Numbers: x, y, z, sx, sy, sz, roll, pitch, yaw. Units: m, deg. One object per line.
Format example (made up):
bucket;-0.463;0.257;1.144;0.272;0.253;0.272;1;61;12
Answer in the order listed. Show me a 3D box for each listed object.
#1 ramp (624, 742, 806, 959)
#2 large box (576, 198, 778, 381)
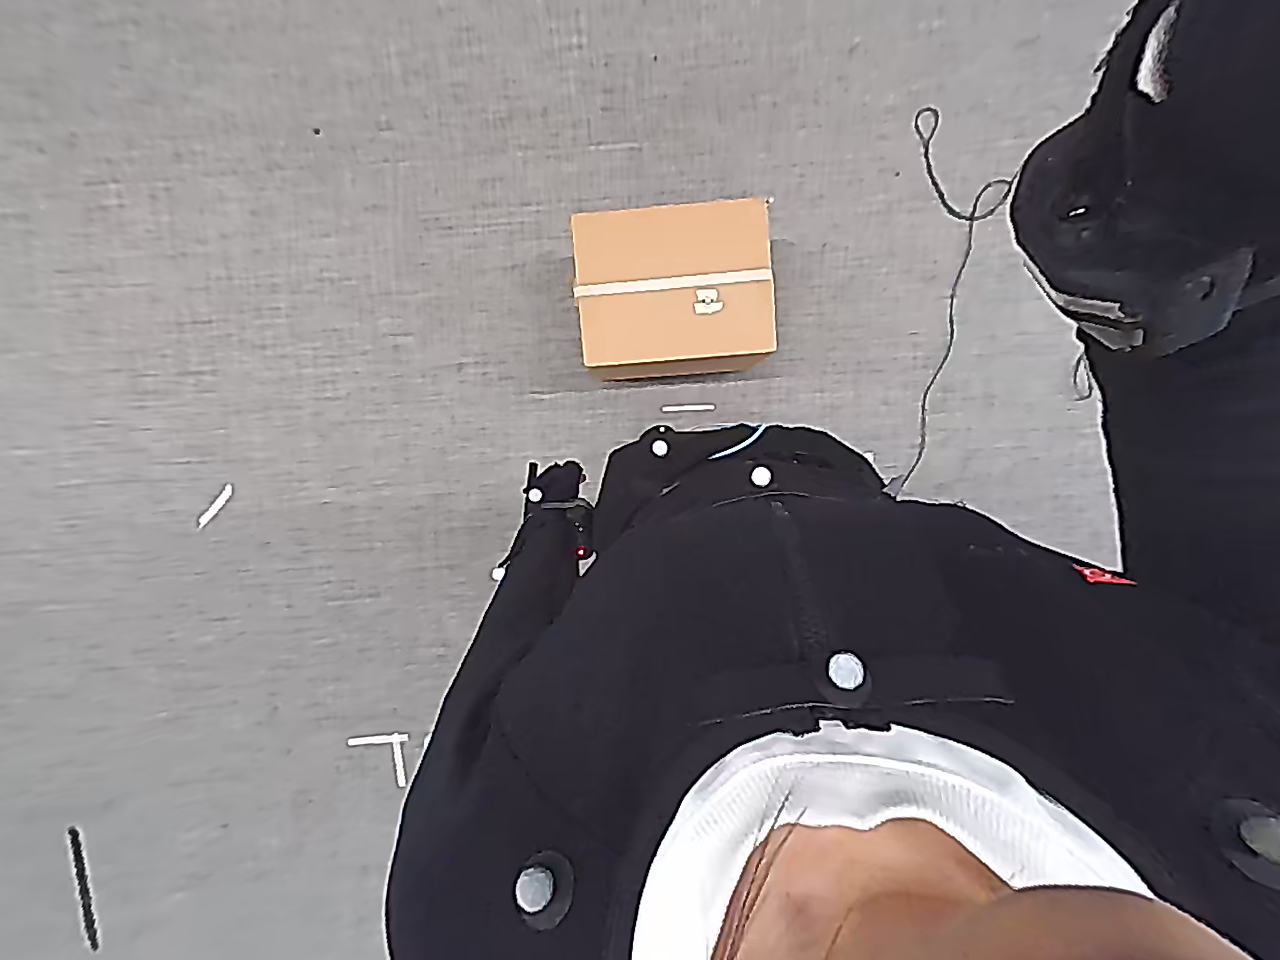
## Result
ramp;0.200;1.231;1.464;0.509;0.206;0.991;-2;94;3
large box;0.080;-0.419;1.269;0.408;0.320;0.320;-5;95;1
